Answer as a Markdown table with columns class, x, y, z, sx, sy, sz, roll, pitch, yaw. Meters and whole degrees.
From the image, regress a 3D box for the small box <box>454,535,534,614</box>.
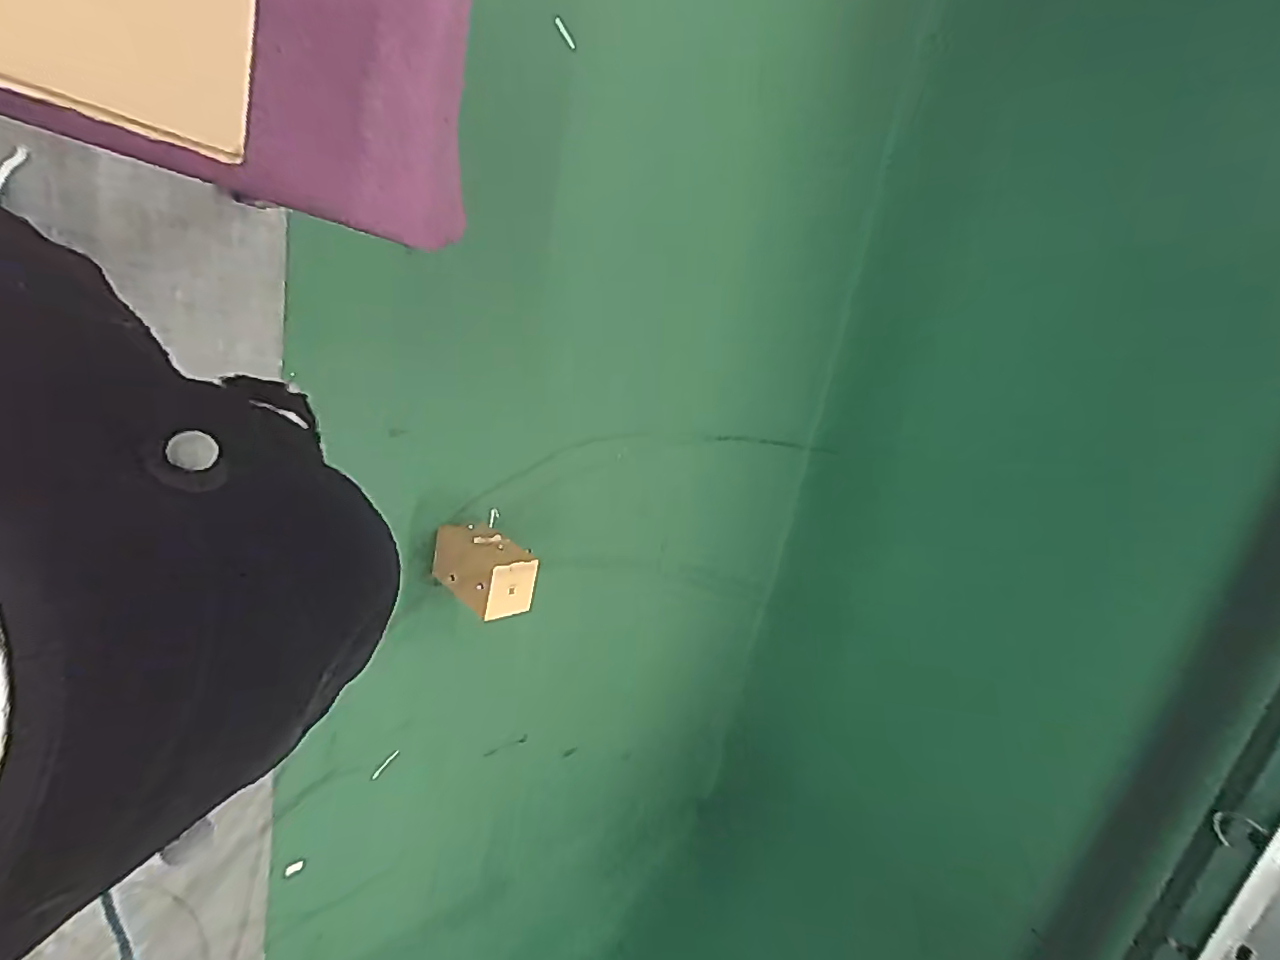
| class | x | y | z | sx | sy | sz | roll | pitch | yaw |
| --- | --- | --- | --- | --- | --- | --- | --- | --- | --- |
| small box | -0.457 | 0.287 | 1.678 | 0.168 | 0.176 | 0.179 | -2 | 109 | -50 |

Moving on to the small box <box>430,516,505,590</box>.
| class | x | y | z | sx | sy | sz | roll | pitch | yaw |
| --- | --- | --- | --- | --- | --- | --- | --- | --- | --- |
| small box | -0.572 | 0.235 | 1.782 | 0.168 | 0.176 | 0.179 | -4 | 111 | -50 |
